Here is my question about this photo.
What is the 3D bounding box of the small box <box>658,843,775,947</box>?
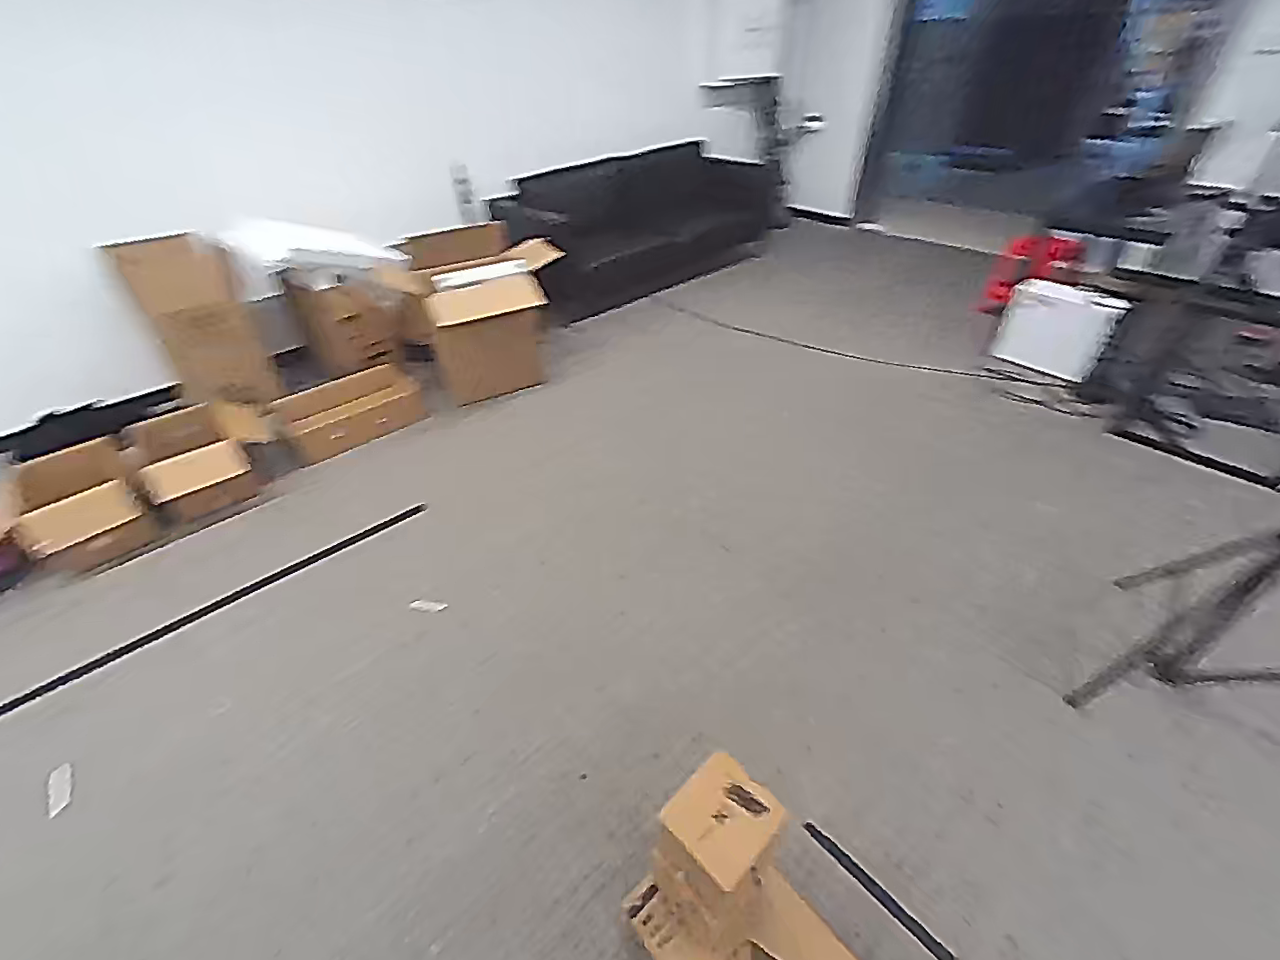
[{"bbox_3d":[0.150,0.802,1.117,0.179,0.176,0.168,-30,46,-30],"label":"small box"}]

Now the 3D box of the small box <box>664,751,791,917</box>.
[{"bbox_3d":[0.157,0.667,1.023,0.179,0.176,0.168,-31,47,-31],"label":"small box"}]
